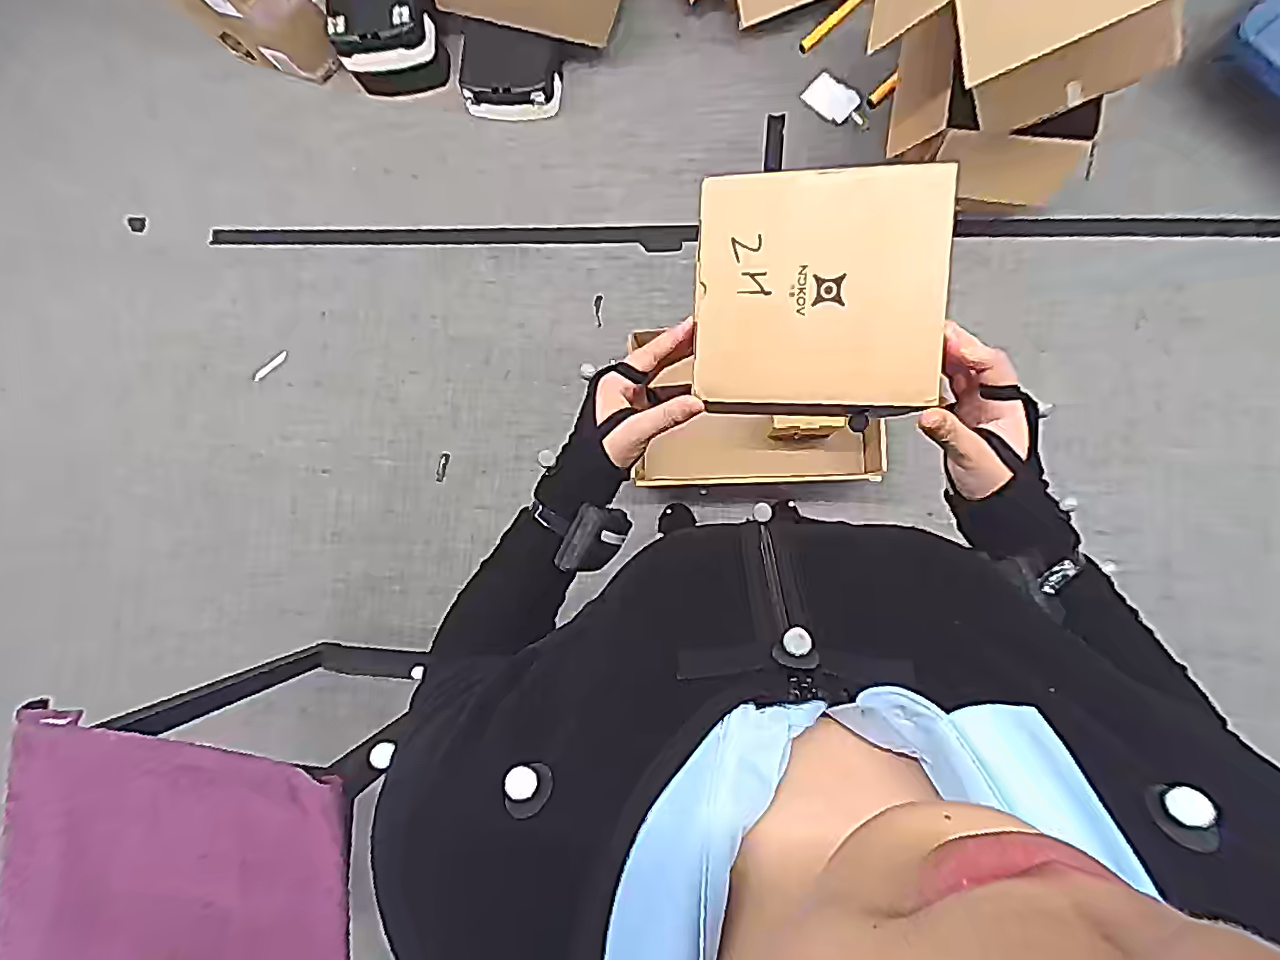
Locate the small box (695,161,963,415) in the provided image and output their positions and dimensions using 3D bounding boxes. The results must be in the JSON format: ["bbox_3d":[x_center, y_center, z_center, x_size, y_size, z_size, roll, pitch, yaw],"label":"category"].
[{"bbox_3d":[0.145,-0.144,0.463,0.179,0.176,0.168,3,94,12],"label":"small box"}]

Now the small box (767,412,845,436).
[{"bbox_3d":[0.414,-0.211,1.372,0.168,0.176,0.179,-1,87,7],"label":"small box"}]
